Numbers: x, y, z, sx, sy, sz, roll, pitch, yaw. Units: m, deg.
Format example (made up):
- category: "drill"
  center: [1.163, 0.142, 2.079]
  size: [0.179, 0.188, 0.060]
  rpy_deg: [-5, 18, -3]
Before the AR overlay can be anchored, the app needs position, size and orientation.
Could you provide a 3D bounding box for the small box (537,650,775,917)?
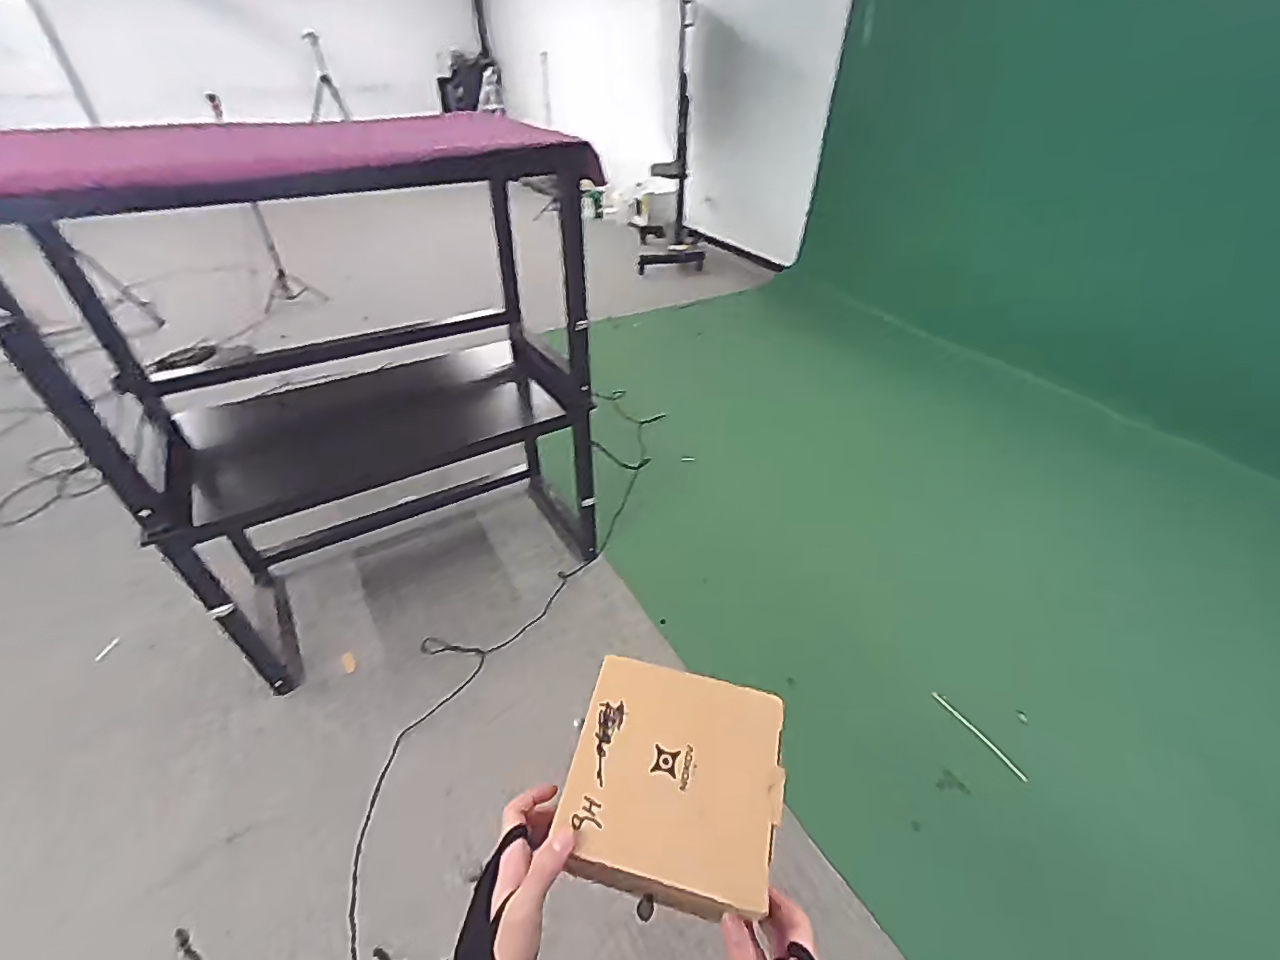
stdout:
- category: "small box"
  center: [0.019, 0.296, 0.523]
  size: [0.179, 0.176, 0.168]
  rpy_deg: [12, 48, 8]
